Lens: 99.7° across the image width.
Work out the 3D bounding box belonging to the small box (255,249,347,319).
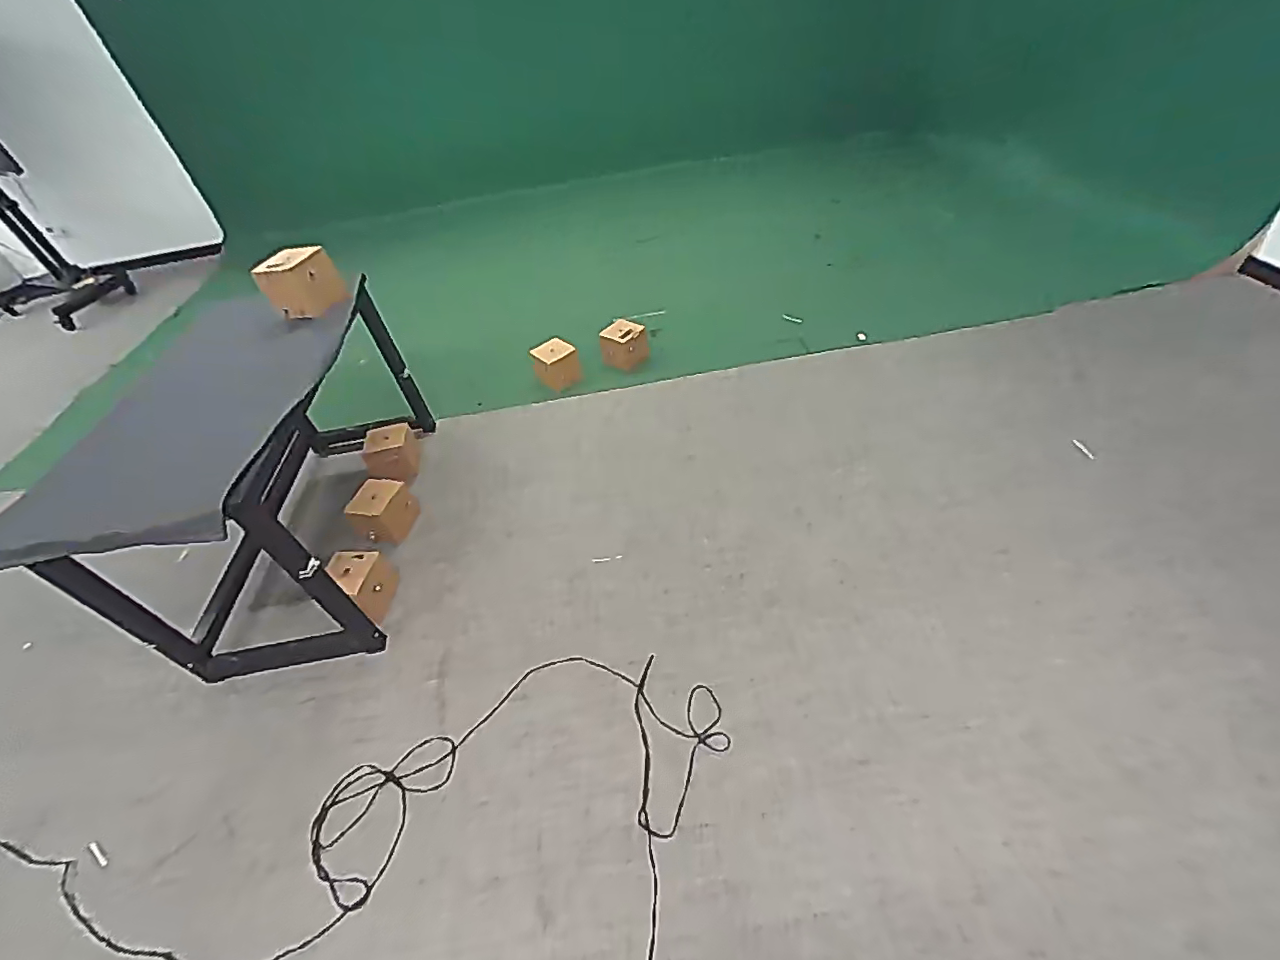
[{"bbox_3d":[-1.146,-0.665,1.847,0.168,0.176,0.179,3,48,16],"label":"small box"}]

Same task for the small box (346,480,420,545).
[{"bbox_3d":[-0.974,0.124,2.076,0.168,0.176,0.179,4,48,15],"label":"small box"}]

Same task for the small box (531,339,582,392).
[{"bbox_3d":[-0.407,-0.559,2.651,0.168,0.176,0.179,-37,51,-24],"label":"small box"}]

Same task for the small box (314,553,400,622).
[{"bbox_3d":[-0.946,0.367,1.831,0.168,0.176,0.179,-1,46,9],"label":"small box"}]

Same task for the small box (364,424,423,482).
[{"bbox_3d":[-1.052,-0.113,2.322,0.179,0.176,0.168,-14,44,-3],"label":"small box"}]
